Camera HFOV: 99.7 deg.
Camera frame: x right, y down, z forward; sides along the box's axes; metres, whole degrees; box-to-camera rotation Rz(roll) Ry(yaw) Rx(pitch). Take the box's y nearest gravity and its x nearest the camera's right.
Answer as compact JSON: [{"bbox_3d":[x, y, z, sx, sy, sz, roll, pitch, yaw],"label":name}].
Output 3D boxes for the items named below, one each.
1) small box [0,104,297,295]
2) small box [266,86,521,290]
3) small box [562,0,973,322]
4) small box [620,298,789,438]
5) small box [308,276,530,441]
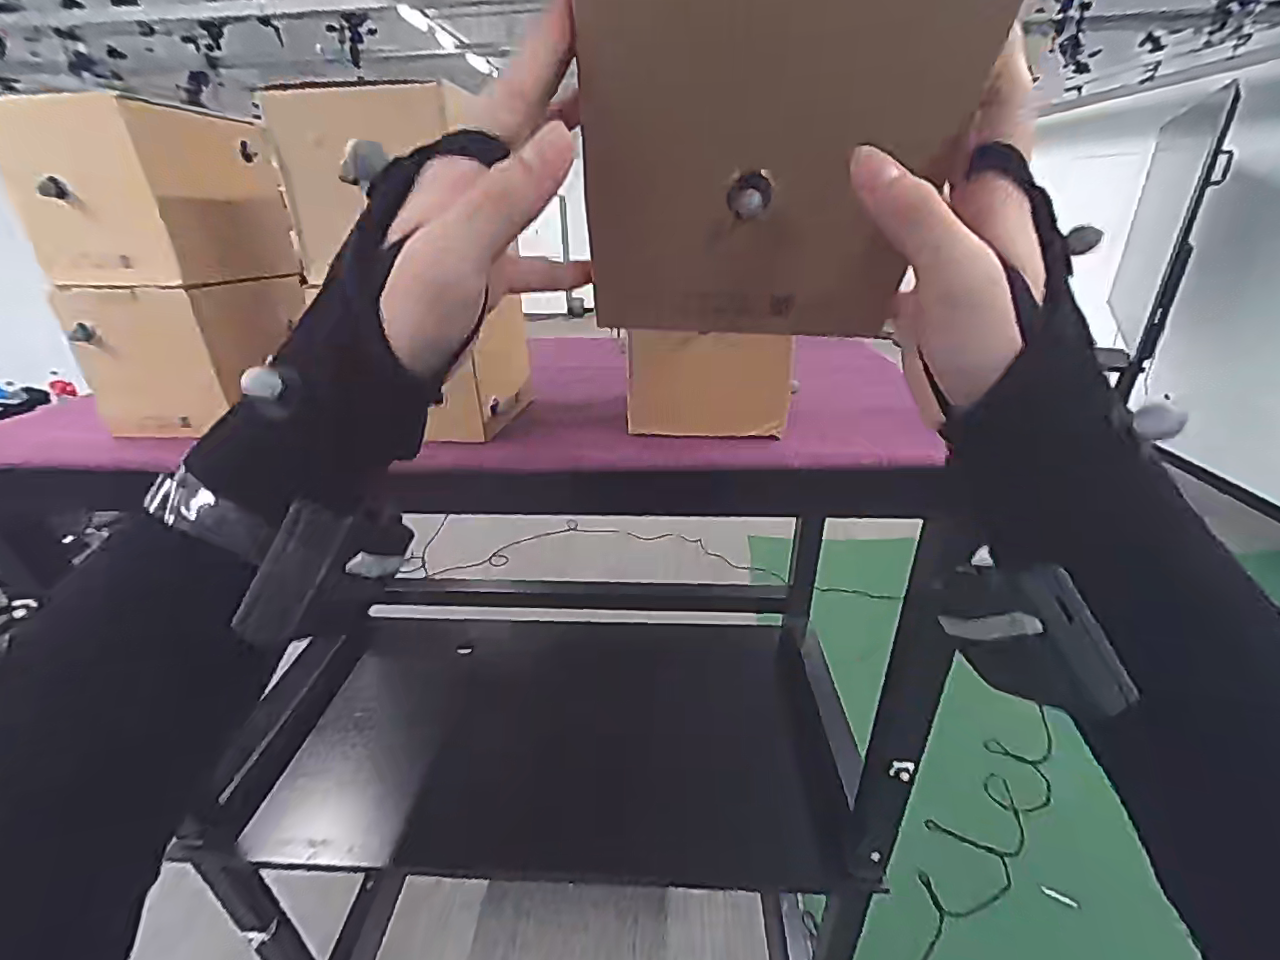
[{"bbox_3d":[-0.536,-0.306,0.617,0.168,0.176,0.179,2,25,8],"label":"small box"},{"bbox_3d":[-0.245,-0.301,0.586,0.179,0.176,0.168,0,26,6],"label":"small box"},{"bbox_3d":[0.058,-0.210,0.313,0.168,0.176,0.179,3,52,2],"label":"small box"},{"bbox_3d":[0.079,-0.154,0.639,0.179,0.176,0.168,2,27,9],"label":"small box"},{"bbox_3d":[-0.245,-0.151,0.652,0.179,0.176,0.168,1,26,9],"label":"small box"}]
